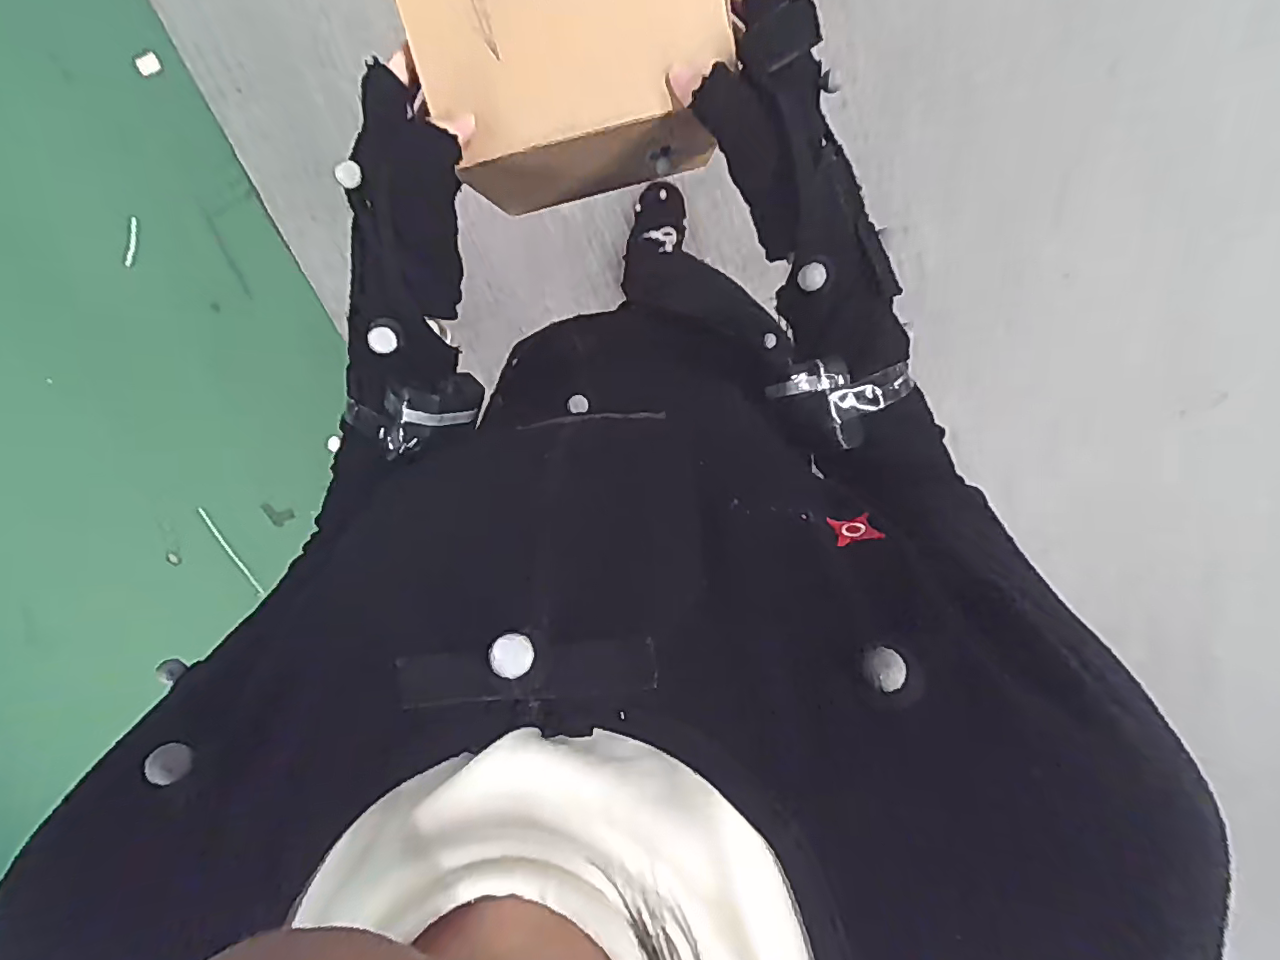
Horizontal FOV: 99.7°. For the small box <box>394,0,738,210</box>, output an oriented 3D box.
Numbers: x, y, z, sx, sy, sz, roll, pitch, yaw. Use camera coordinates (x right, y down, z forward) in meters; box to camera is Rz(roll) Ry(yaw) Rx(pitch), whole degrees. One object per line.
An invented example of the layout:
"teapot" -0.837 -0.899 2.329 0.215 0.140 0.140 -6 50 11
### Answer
"small box" -0.047 -0.300 0.359 0.179 0.176 0.168 -14 106 6
